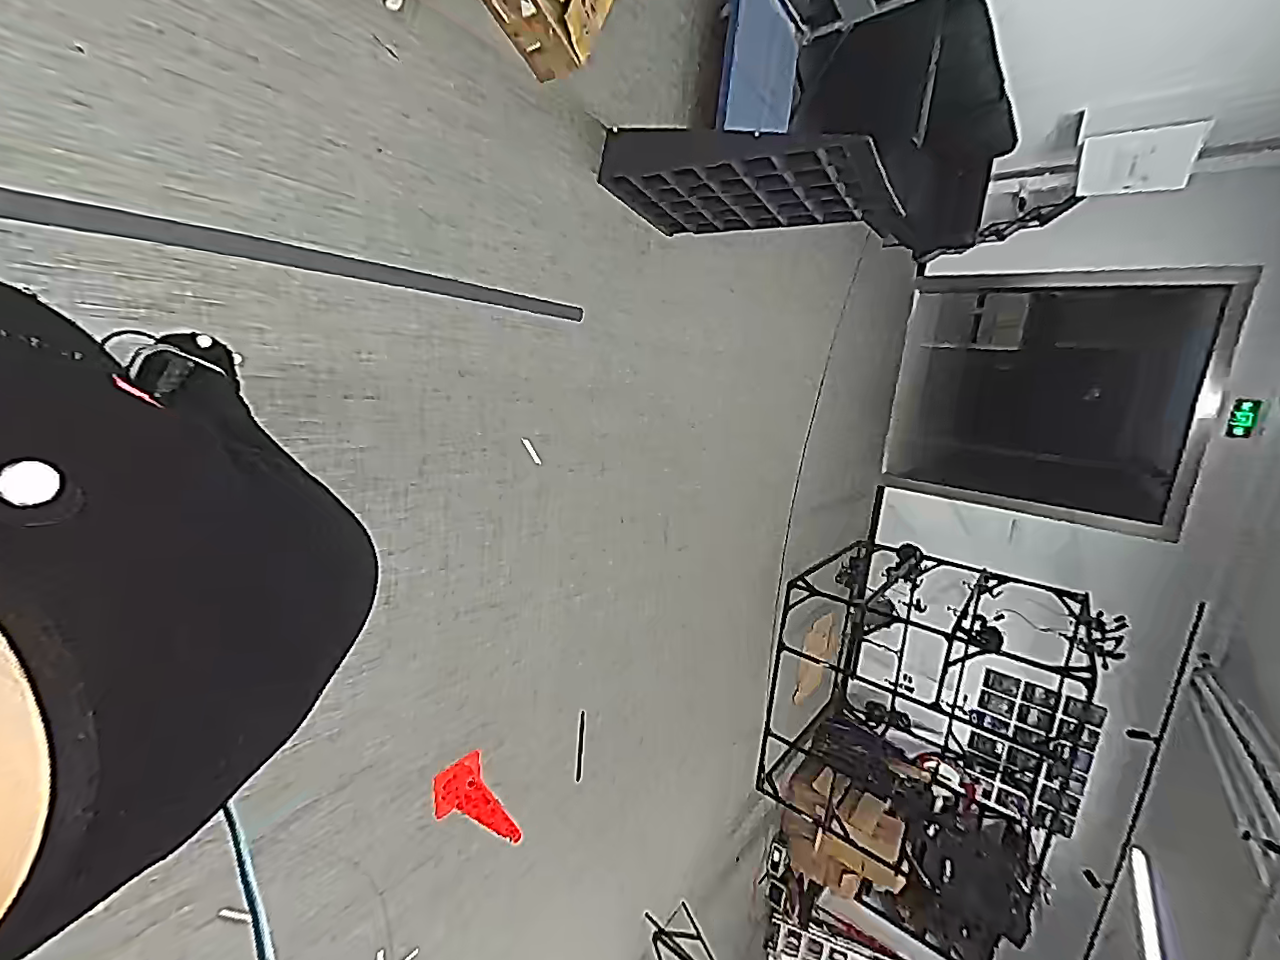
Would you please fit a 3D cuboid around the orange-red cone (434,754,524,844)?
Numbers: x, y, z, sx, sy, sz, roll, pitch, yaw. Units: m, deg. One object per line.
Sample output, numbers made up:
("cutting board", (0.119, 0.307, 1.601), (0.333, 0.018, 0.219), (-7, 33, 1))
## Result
("orange-red cone", (-0.548, 1.183, 1.930), (0.198, 0.360, 0.199), (-15, 112, -51))
